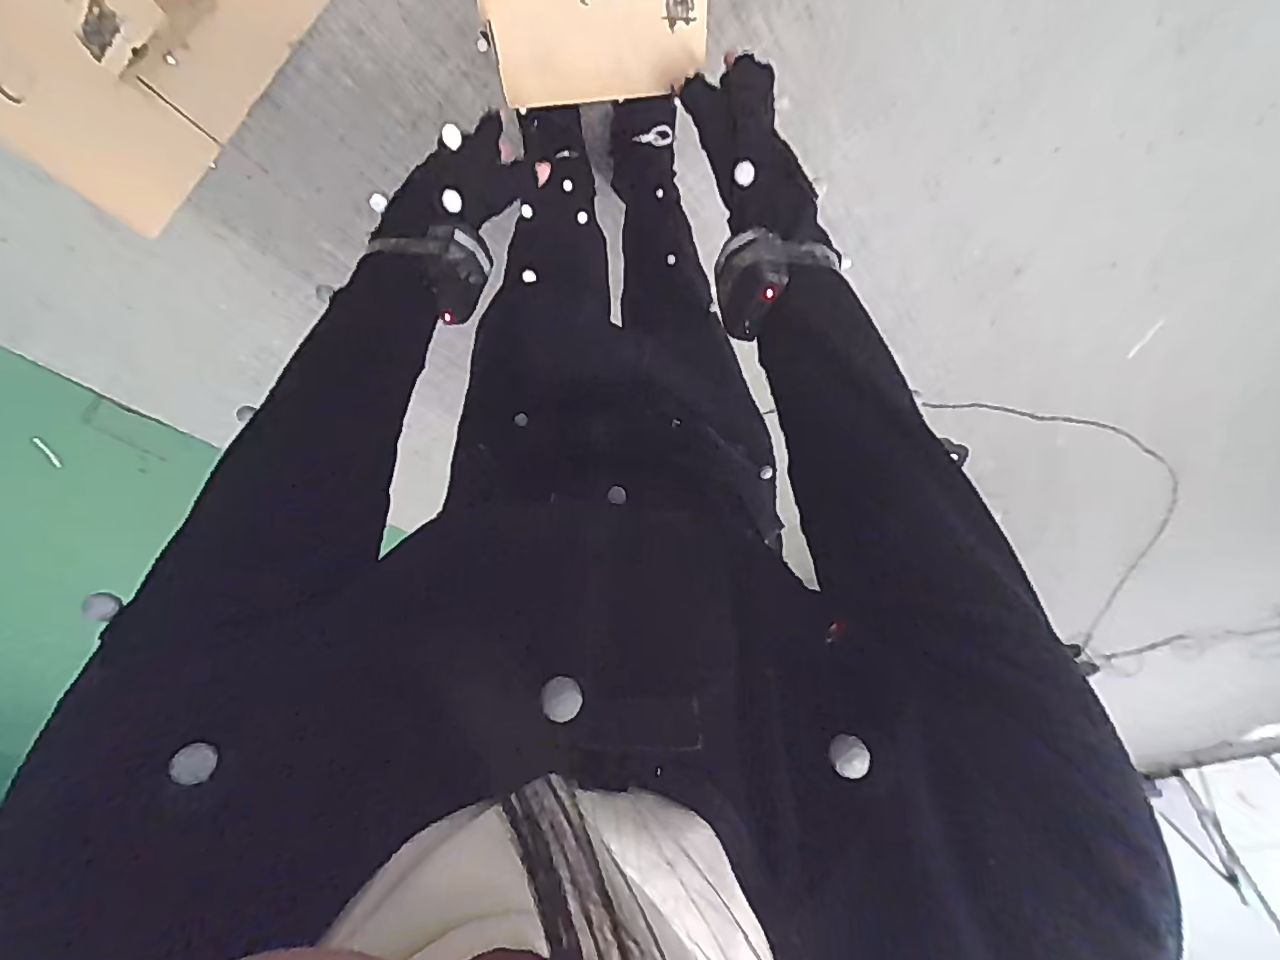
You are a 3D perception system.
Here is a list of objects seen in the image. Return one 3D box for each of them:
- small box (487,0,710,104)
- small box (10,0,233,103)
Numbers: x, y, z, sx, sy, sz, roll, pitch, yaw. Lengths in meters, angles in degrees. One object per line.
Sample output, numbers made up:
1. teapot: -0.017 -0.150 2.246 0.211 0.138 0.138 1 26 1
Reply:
1. small box: -0.039 -0.447 0.460 0.179 0.176 0.168 -8 138 2
2. small box: -0.741 -0.698 0.774 0.168 0.176 0.179 -25 134 21
